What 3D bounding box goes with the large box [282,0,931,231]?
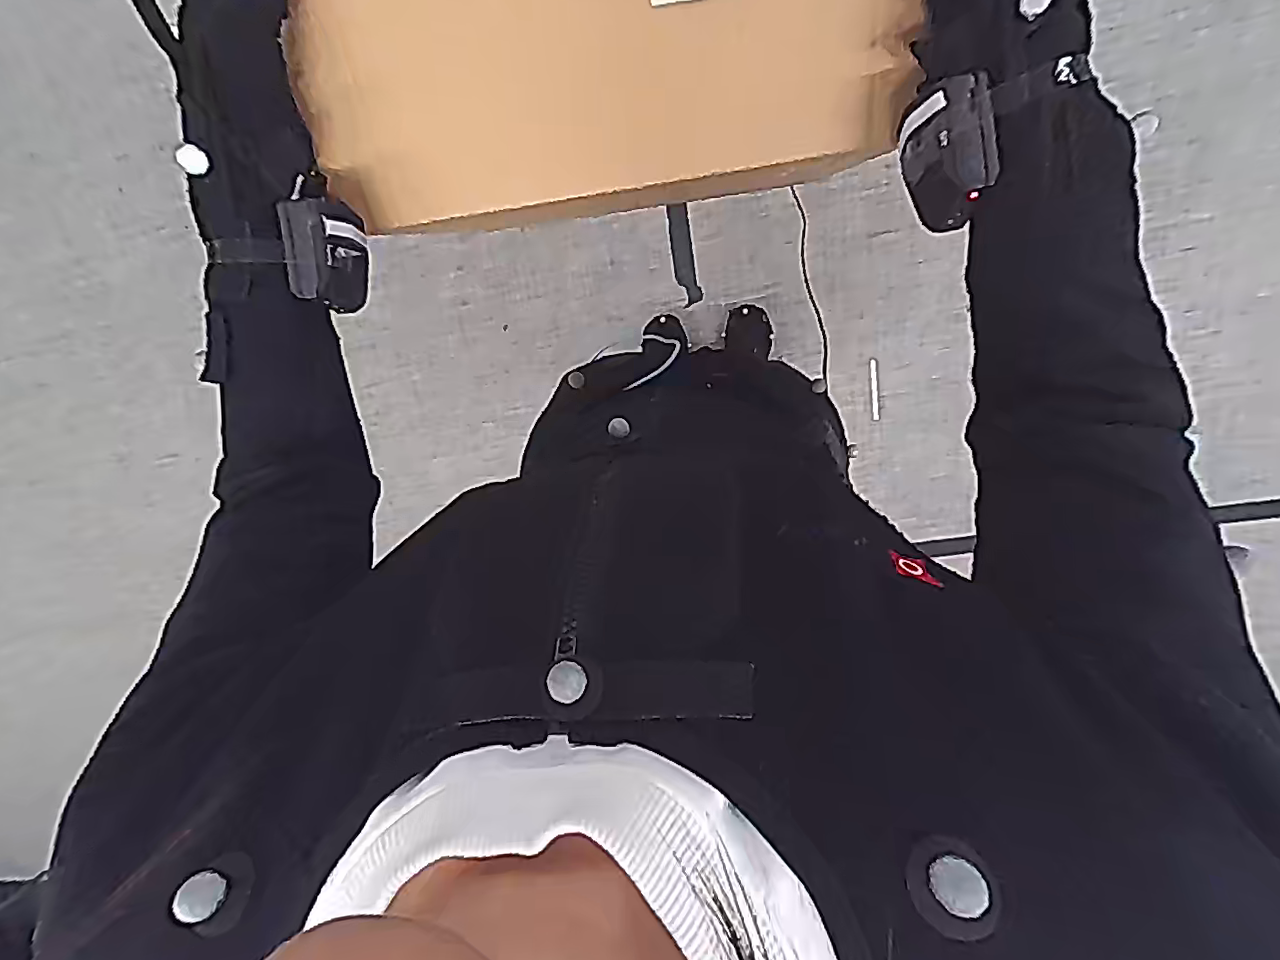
[{"bbox_3d":[-0.025,-0.406,0.446,0.408,0.320,0.320,-6,115,8],"label":"large box"}]
